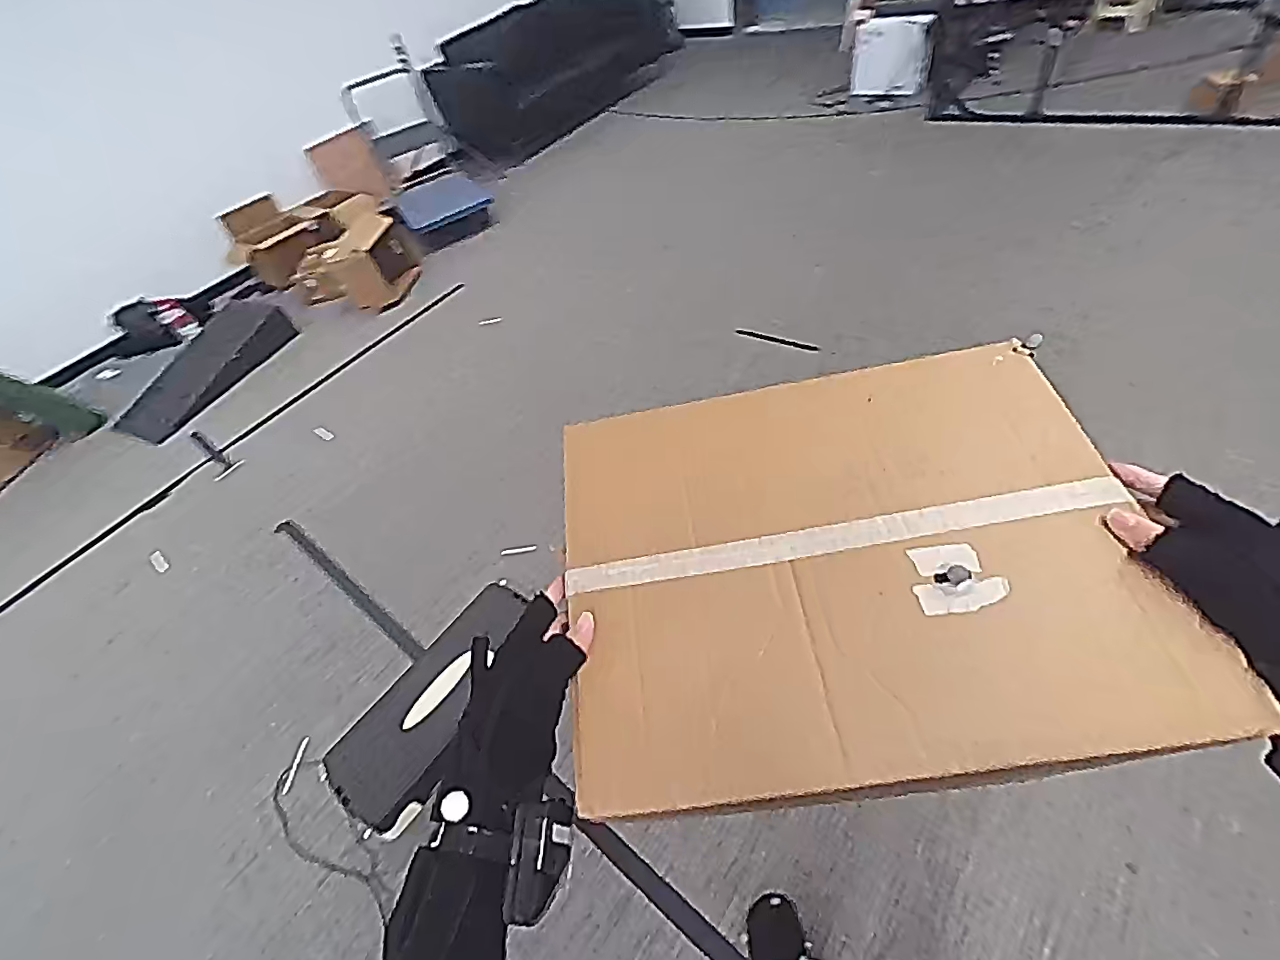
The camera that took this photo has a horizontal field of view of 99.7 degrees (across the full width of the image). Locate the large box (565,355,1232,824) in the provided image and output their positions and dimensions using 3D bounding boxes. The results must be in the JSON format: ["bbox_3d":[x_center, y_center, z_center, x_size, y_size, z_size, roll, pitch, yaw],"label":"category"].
[{"bbox_3d":[0.164,0.130,0.537,0.408,0.320,0.320,-11,57,4],"label":"large box"}]
